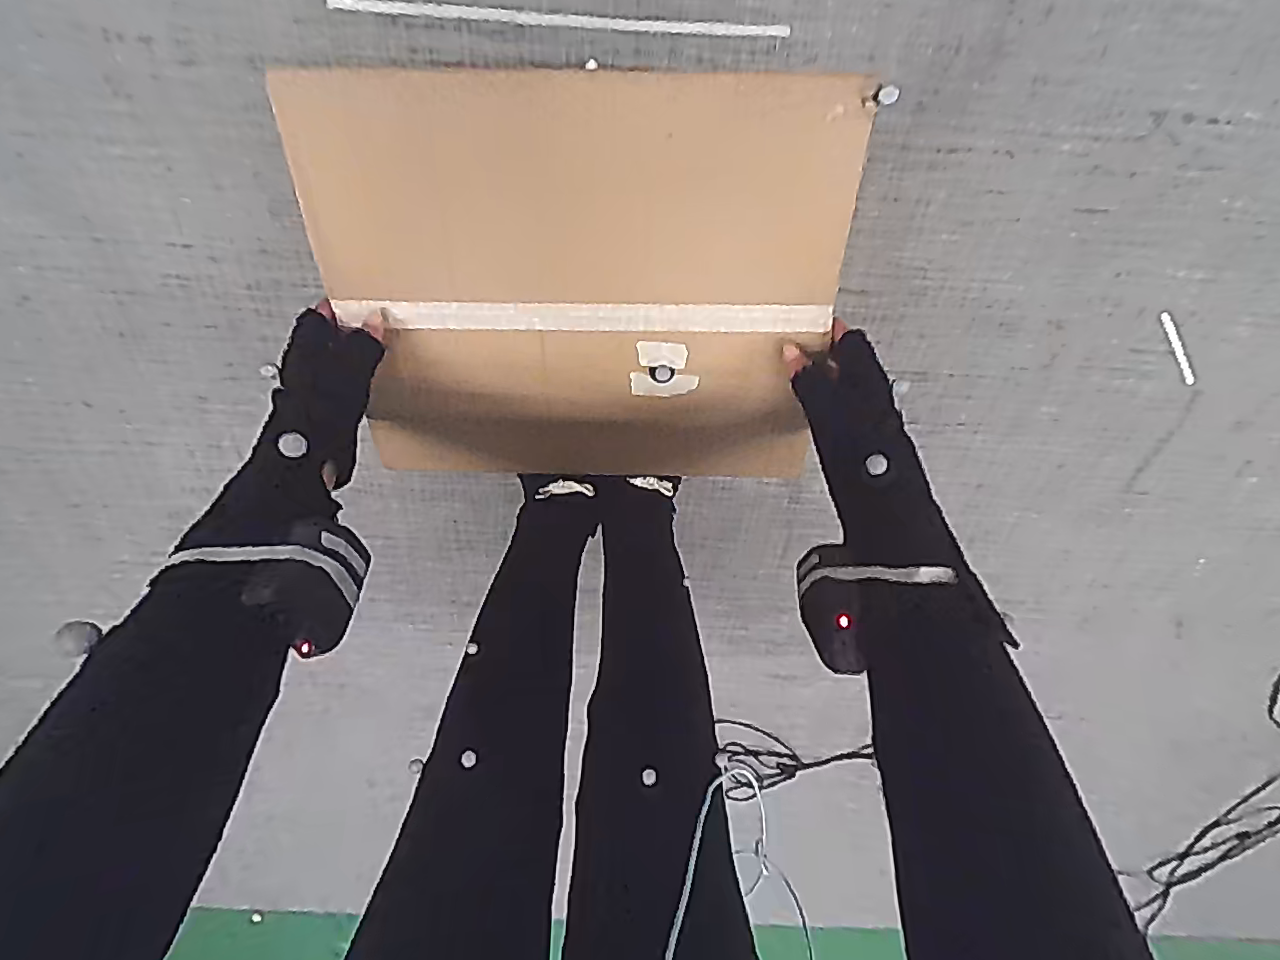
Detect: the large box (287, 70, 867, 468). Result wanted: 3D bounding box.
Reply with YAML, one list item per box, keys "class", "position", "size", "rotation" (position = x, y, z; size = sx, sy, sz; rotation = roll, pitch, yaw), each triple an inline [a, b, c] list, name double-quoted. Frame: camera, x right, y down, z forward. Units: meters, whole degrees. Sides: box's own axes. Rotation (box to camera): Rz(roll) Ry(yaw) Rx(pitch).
- class: "large box"
  position: [-0.044, -0.222, 0.569]
  size: [0.408, 0.320, 0.320]
  rotation: [0, 124, 0]
